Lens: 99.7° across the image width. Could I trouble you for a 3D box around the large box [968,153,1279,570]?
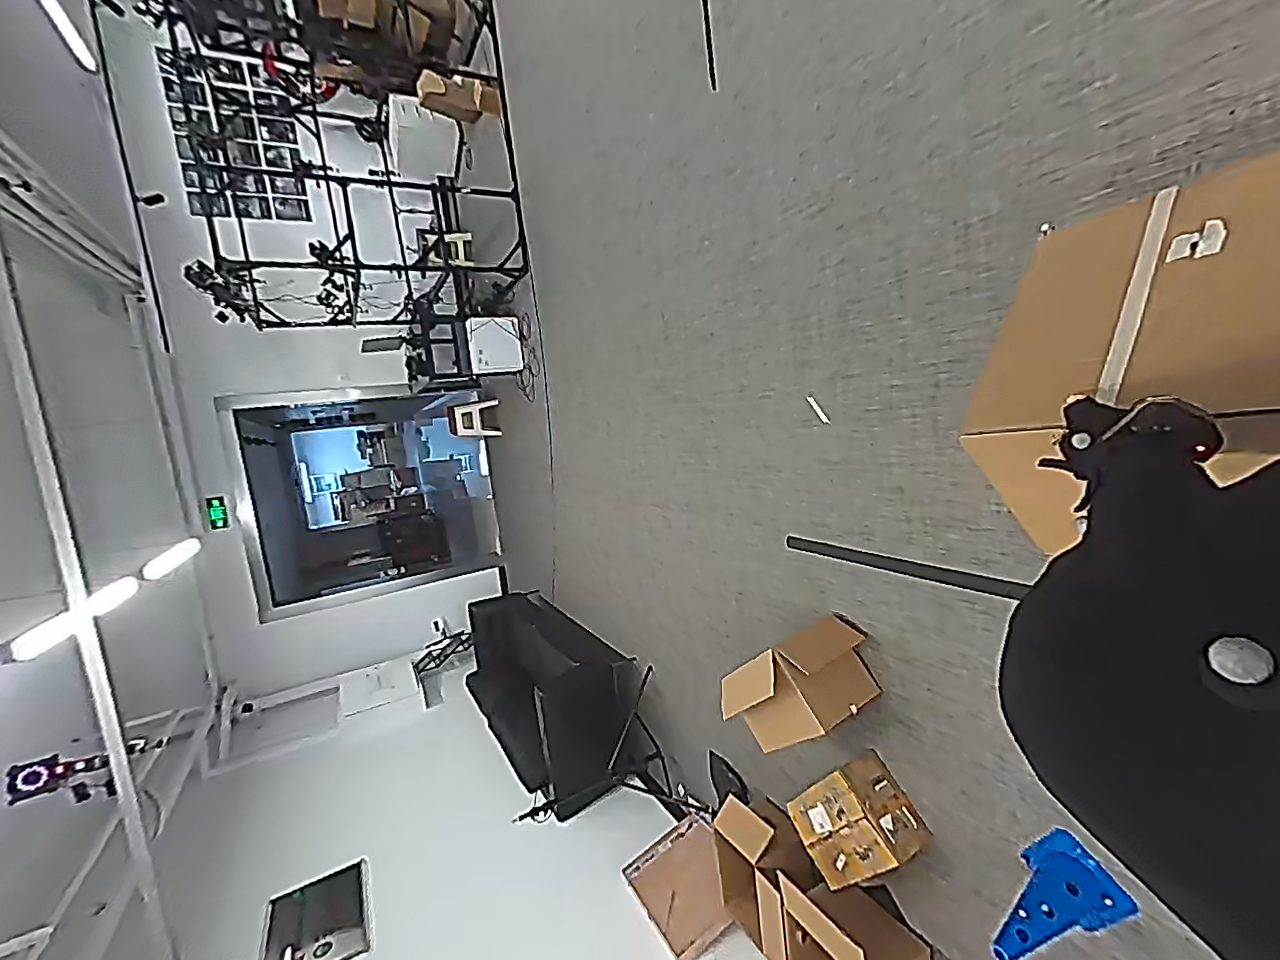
[{"bbox_3d":[0.717,-0.133,0.718,0.320,0.320,0.408,-1,54,59],"label":"large box"}]
